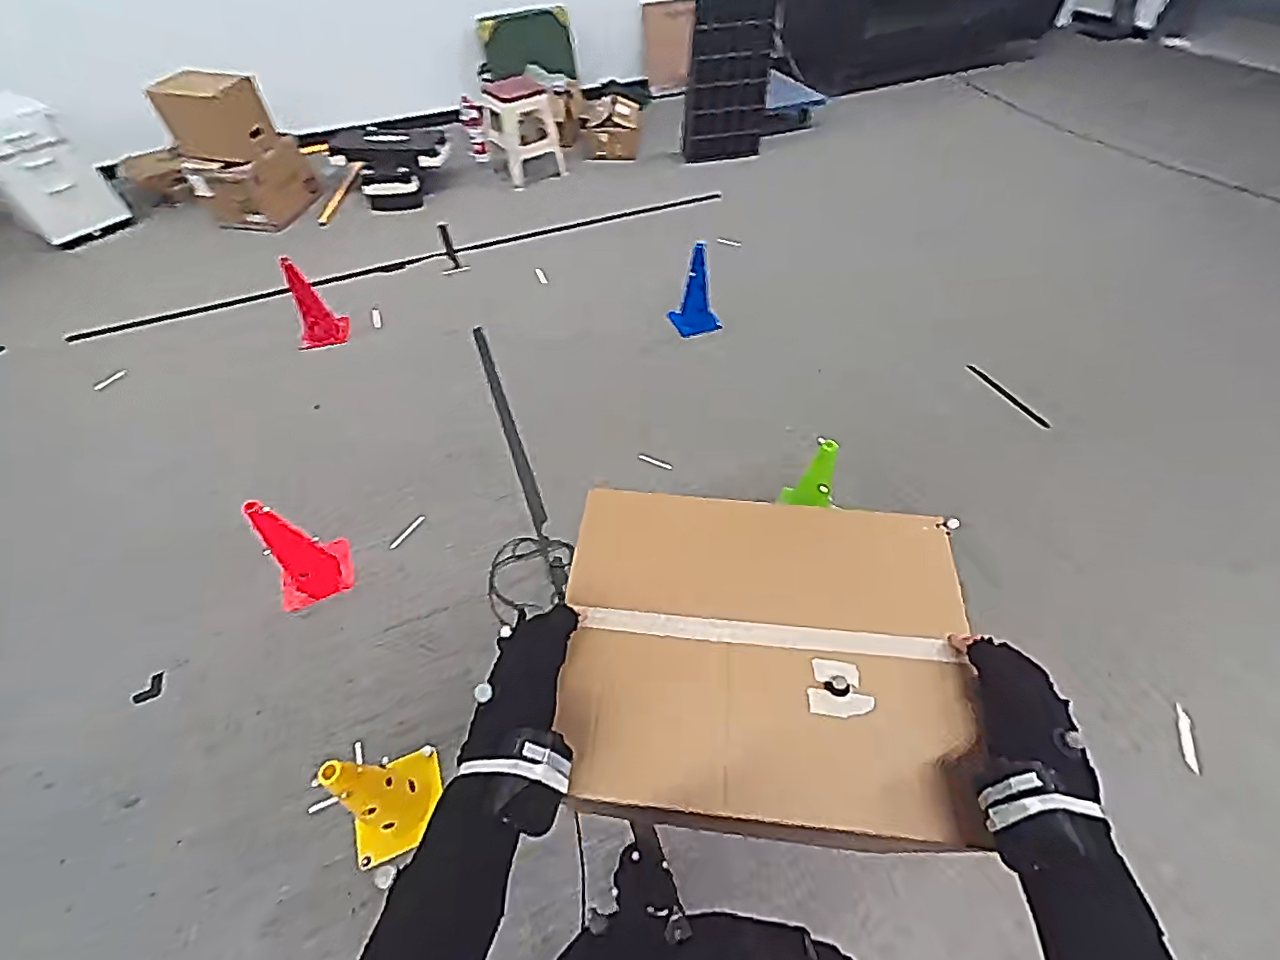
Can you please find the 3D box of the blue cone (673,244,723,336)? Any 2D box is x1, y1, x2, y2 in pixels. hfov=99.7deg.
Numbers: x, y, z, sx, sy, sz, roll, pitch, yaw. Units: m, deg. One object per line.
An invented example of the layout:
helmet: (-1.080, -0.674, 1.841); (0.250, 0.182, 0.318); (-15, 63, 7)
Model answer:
blue cone: (0.255, -0.825, 2.326); (0.192, 0.380, 0.193); (-15, 52, -11)

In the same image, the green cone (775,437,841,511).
green cone: (0.532, 0.012, 1.616); (0.200, 0.368, 0.202); (24, 54, 19)

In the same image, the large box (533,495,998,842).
large box: (0.115, 0.239, 0.665); (0.408, 0.320, 0.320); (4, 56, 4)

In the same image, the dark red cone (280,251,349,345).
dark red cone: (-1.414, -0.779, 2.301); (0.201, 0.394, 0.202); (-13, 52, -10)

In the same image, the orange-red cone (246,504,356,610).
orange-red cone: (-0.993, 0.185, 1.537); (0.198, 0.360, 0.199); (-21, 55, -13)
